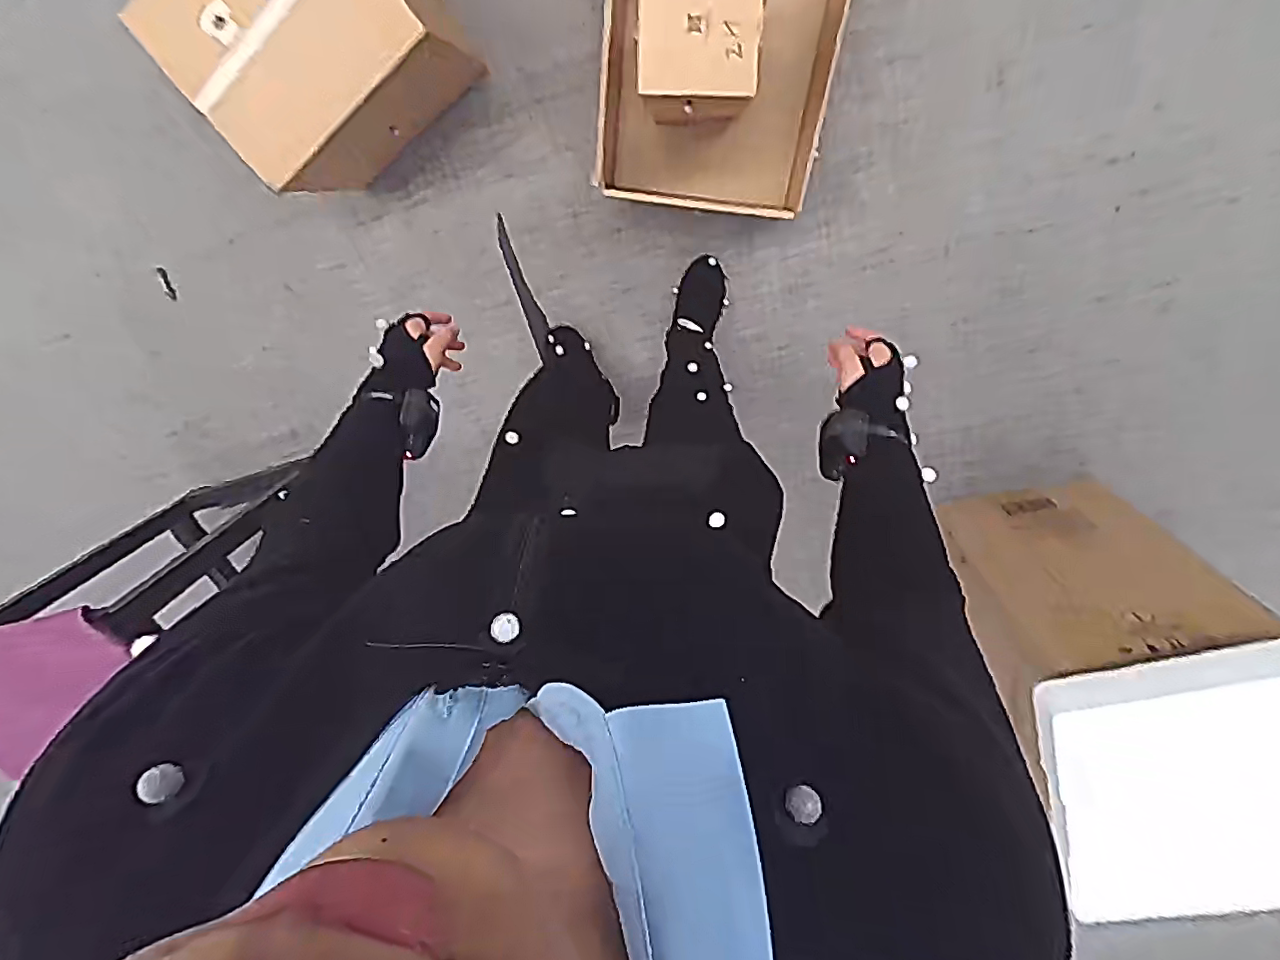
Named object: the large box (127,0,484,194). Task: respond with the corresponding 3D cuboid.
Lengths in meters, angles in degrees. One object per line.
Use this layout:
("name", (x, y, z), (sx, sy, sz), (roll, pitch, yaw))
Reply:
("large box", (-0.568, -0.794, 0.982), (0.408, 0.320, 0.320), (-30, 111, 20))

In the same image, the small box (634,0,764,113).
("small box", (0.088, -0.671, 0.822), (0.179, 0.176, 0.168), (4, 117, 2))
